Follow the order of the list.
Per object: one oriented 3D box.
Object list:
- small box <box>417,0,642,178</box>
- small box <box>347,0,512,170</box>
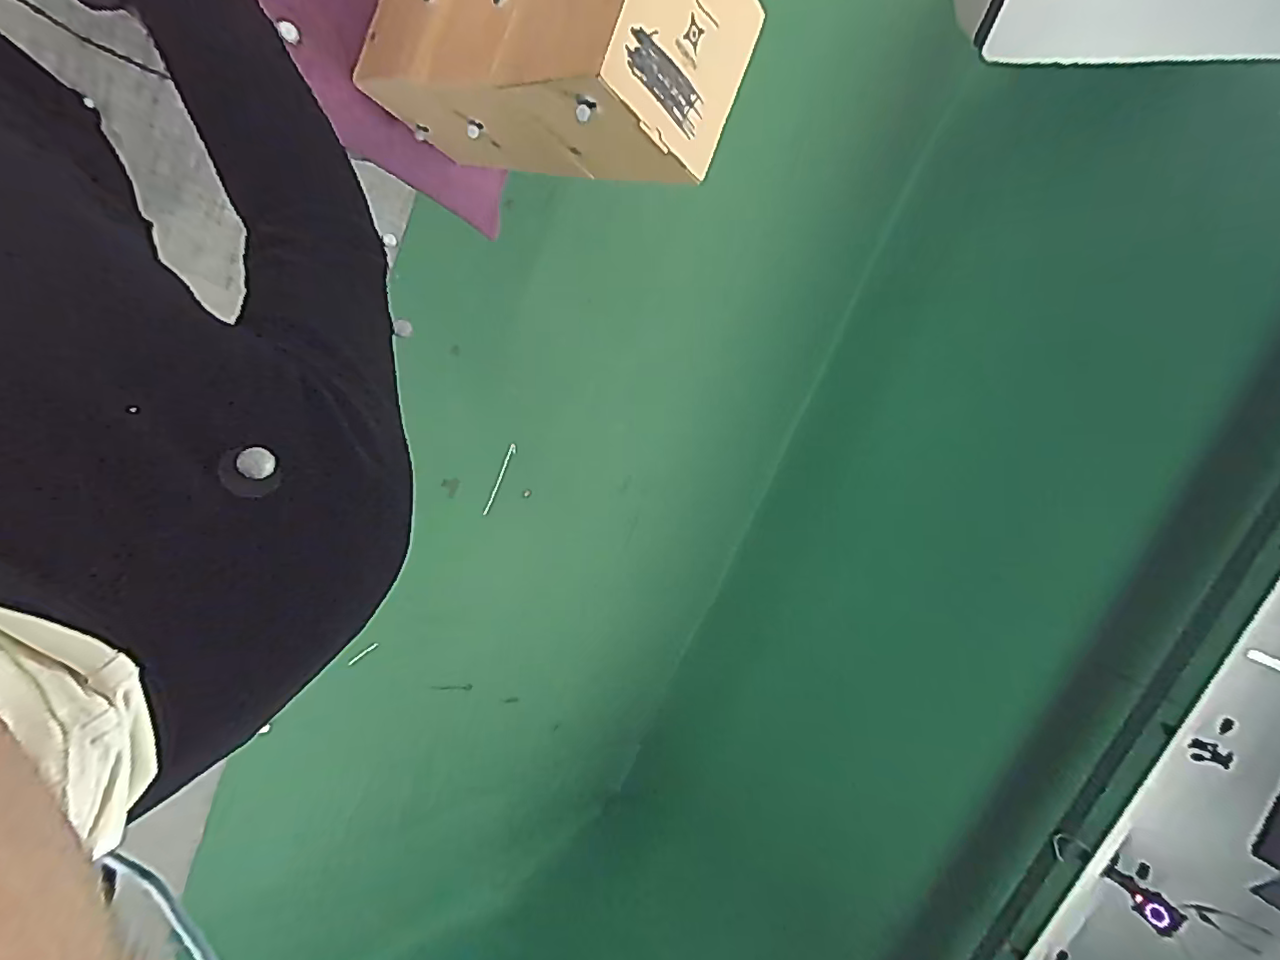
[{"bbox_3d":[-0.134,-0.497,0.644,0.168,0.176,0.179,16,100,-53],"label":"small box"},{"bbox_3d":[-0.255,-0.559,0.735,0.179,0.176,0.168,16,100,-55],"label":"small box"}]
